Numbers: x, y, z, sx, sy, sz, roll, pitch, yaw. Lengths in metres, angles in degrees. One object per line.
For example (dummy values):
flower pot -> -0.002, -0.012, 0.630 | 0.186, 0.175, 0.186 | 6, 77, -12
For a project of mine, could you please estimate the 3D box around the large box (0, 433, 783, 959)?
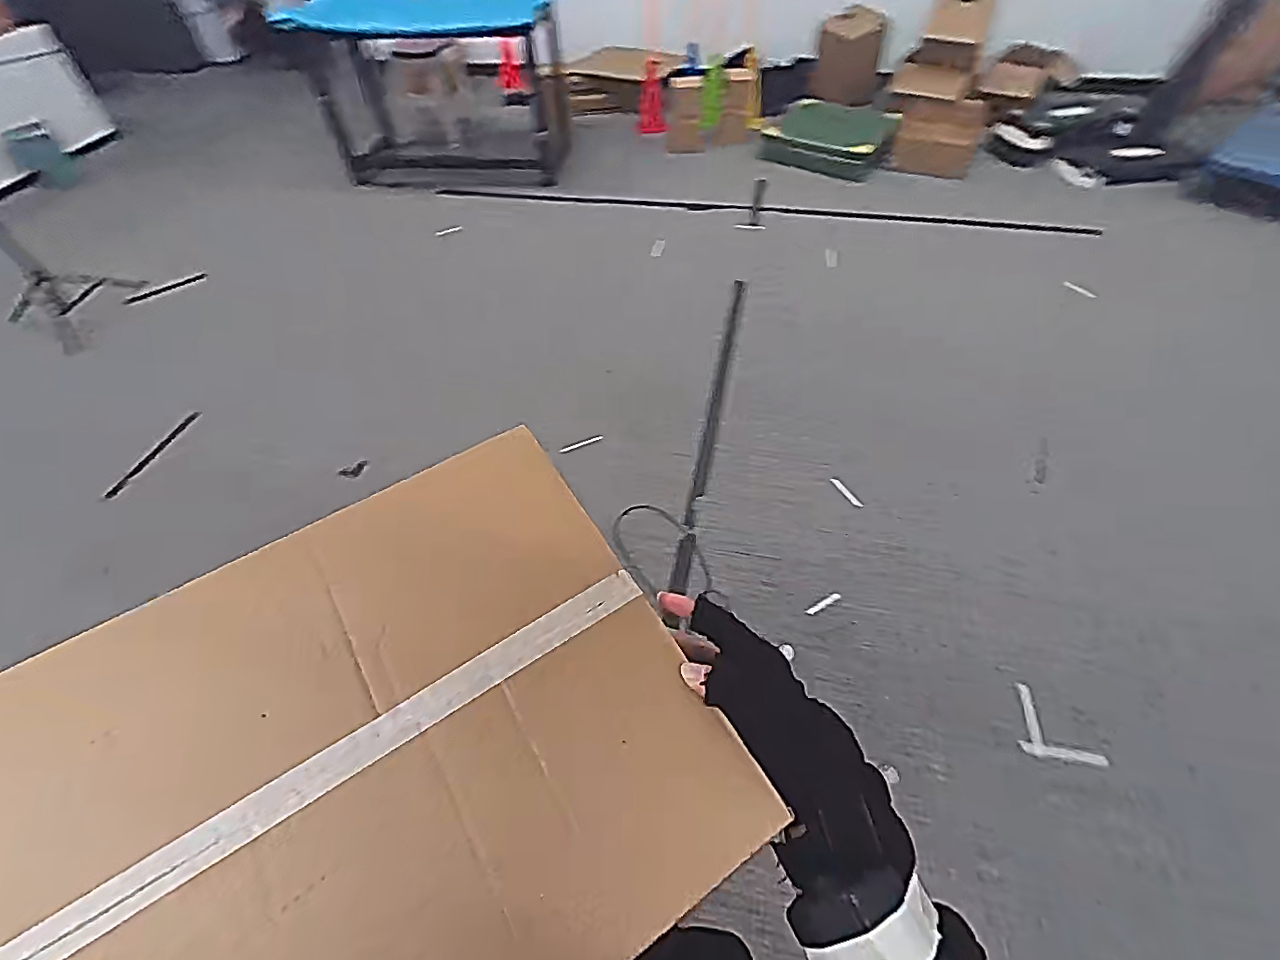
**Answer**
large box -> -0.166, 0.238, 0.441 | 0.408, 0.320, 0.320 | -28, 65, -17
